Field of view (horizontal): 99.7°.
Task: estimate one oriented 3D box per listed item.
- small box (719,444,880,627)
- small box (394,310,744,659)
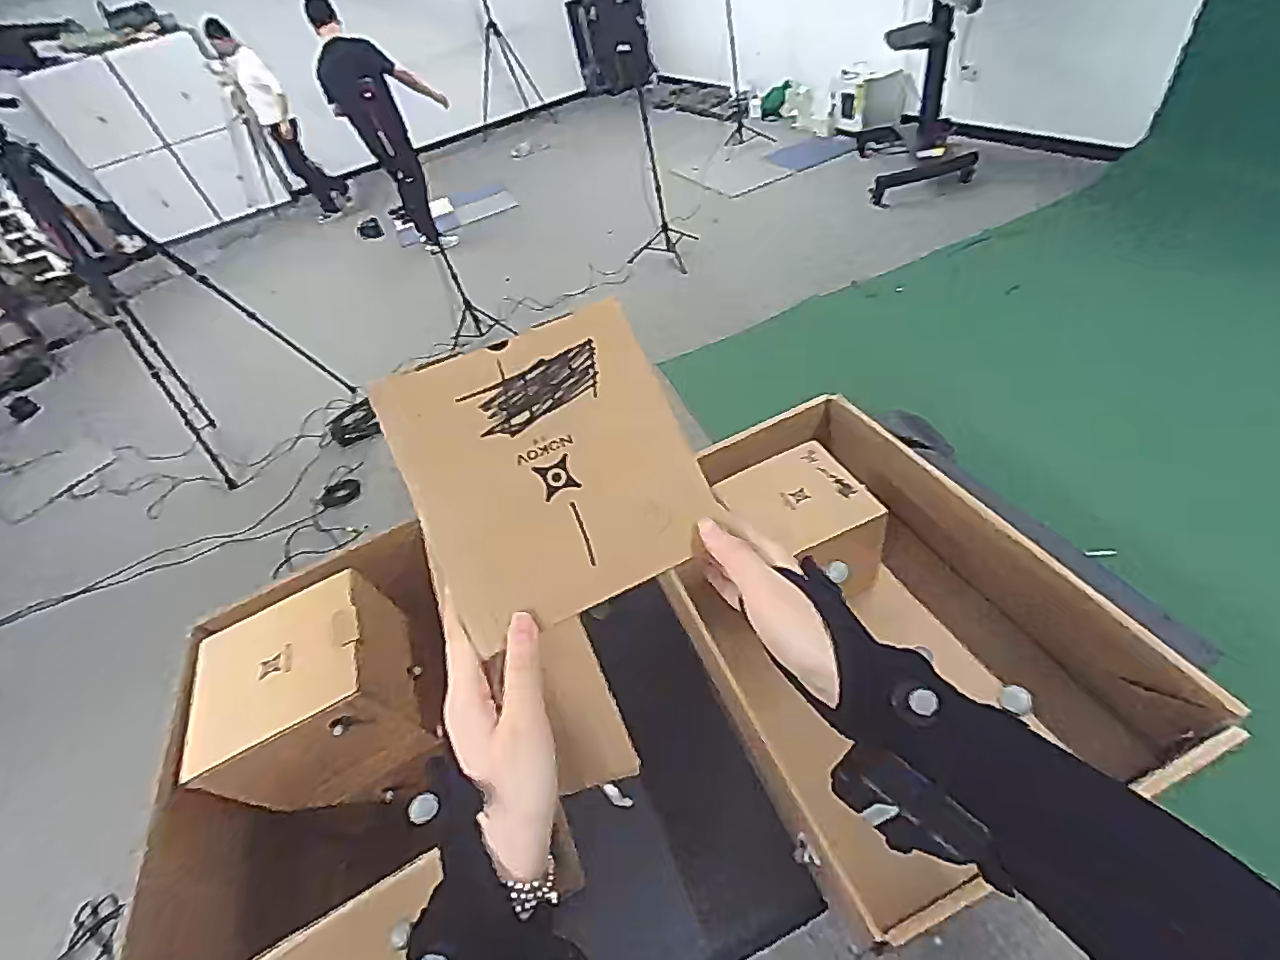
[{"bbox_3d":[0.223,0.085,0.793,0.179,0.176,0.168,-25,46,-6],"label":"small box"},{"bbox_3d":[-0.053,0.010,0.407,0.168,0.176,0.179,-24,84,-10],"label":"small box"}]
